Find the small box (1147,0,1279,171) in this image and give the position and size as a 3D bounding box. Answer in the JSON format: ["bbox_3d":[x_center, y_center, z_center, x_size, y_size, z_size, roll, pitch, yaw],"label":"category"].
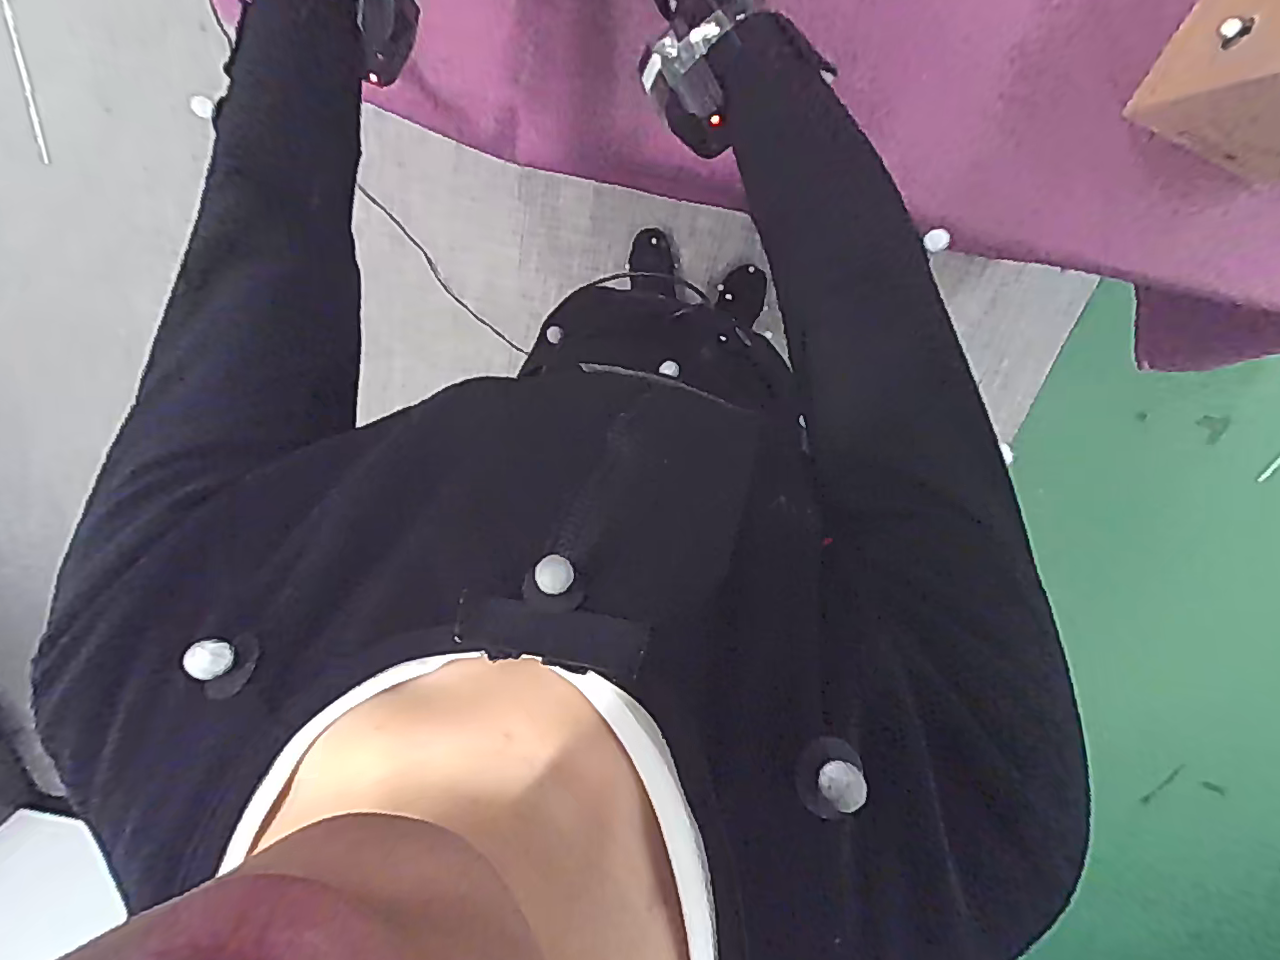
[{"bbox_3d":[0.566,-0.366,0.421,0.168,0.176,0.179,22,116,-6],"label":"small box"}]
